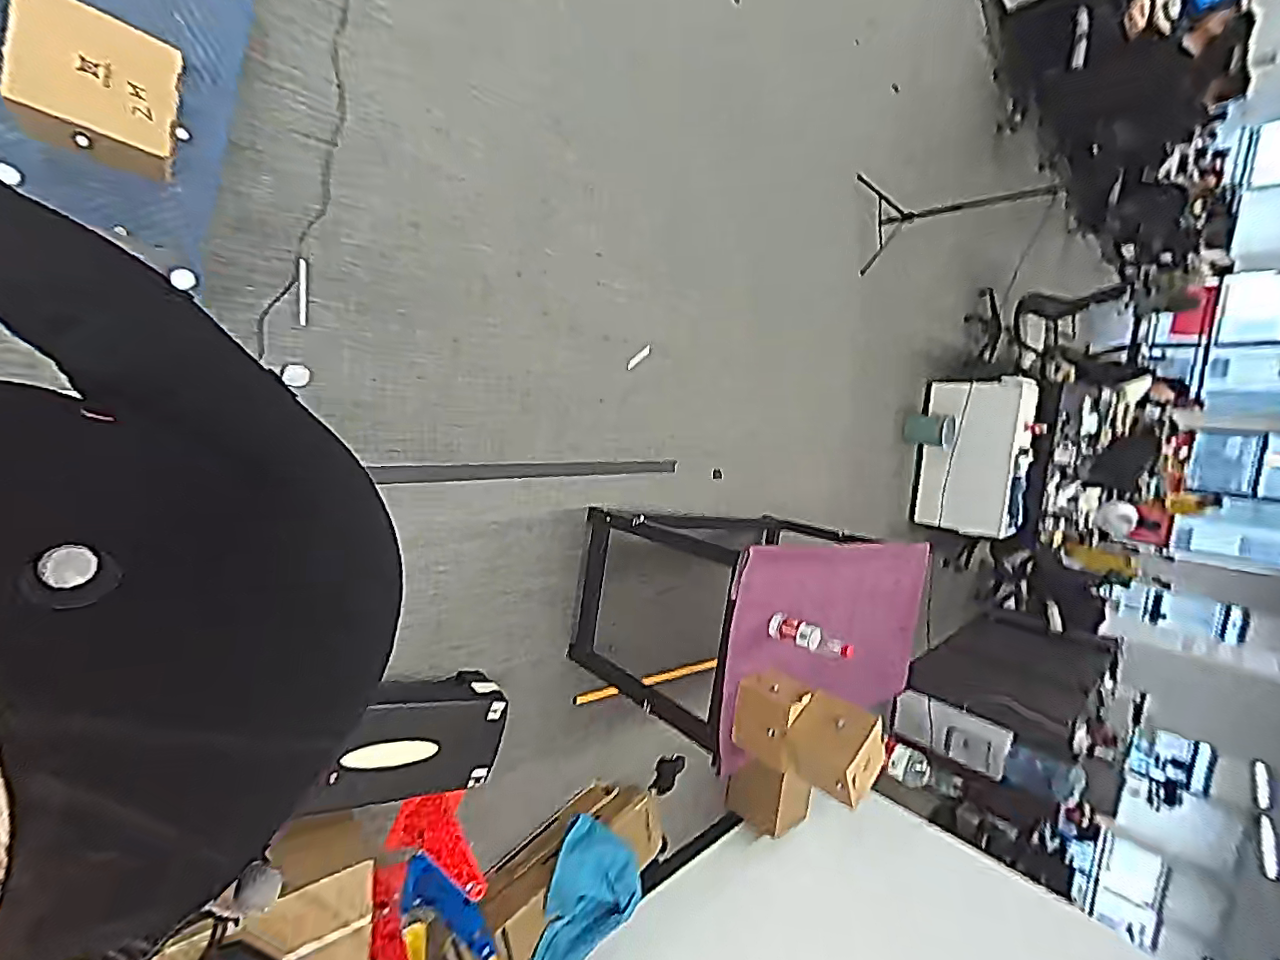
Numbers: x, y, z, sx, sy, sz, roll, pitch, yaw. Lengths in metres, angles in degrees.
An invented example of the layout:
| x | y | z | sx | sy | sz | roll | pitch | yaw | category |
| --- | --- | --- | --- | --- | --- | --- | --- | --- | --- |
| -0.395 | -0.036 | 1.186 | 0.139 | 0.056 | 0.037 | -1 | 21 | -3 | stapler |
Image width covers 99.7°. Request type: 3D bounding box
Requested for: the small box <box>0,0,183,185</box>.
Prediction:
| x | y | z | sx | sy | sz | roll | pitch | yaw | category |
| --- | --- | --- | --- | --- | --- | --- | --- | --- | --- |
| -0.840 | -0.592 | 0.843 | 0.179 | 0.176 | 0.168 | 7 | 93 | -43 | small box |
